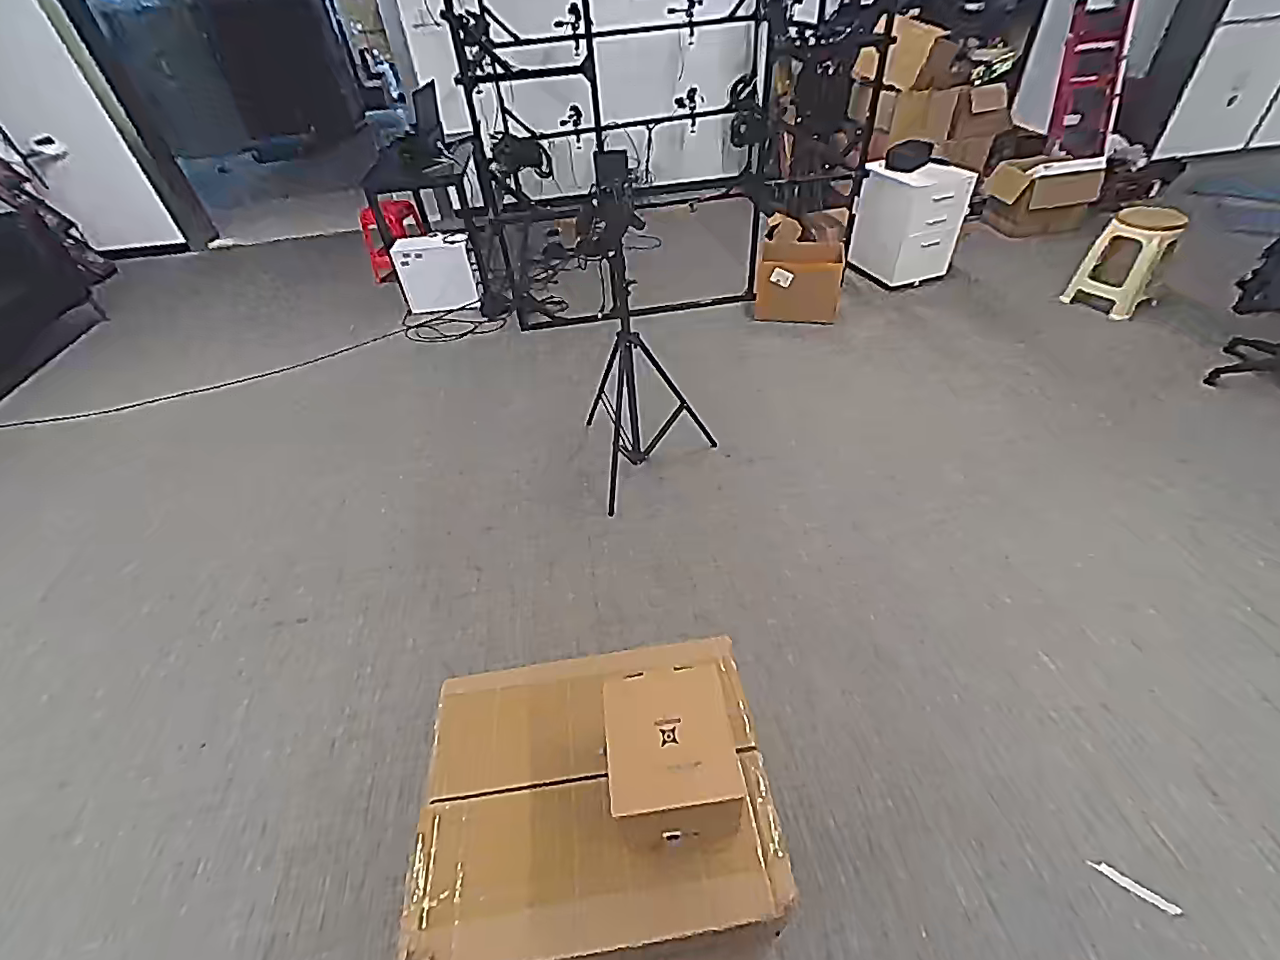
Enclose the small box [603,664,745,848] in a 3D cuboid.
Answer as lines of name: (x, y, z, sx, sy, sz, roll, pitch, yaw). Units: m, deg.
small box: (0.044, 0.390, 0.766, 0.168, 0.176, 0.179, -9, 45, -1)
